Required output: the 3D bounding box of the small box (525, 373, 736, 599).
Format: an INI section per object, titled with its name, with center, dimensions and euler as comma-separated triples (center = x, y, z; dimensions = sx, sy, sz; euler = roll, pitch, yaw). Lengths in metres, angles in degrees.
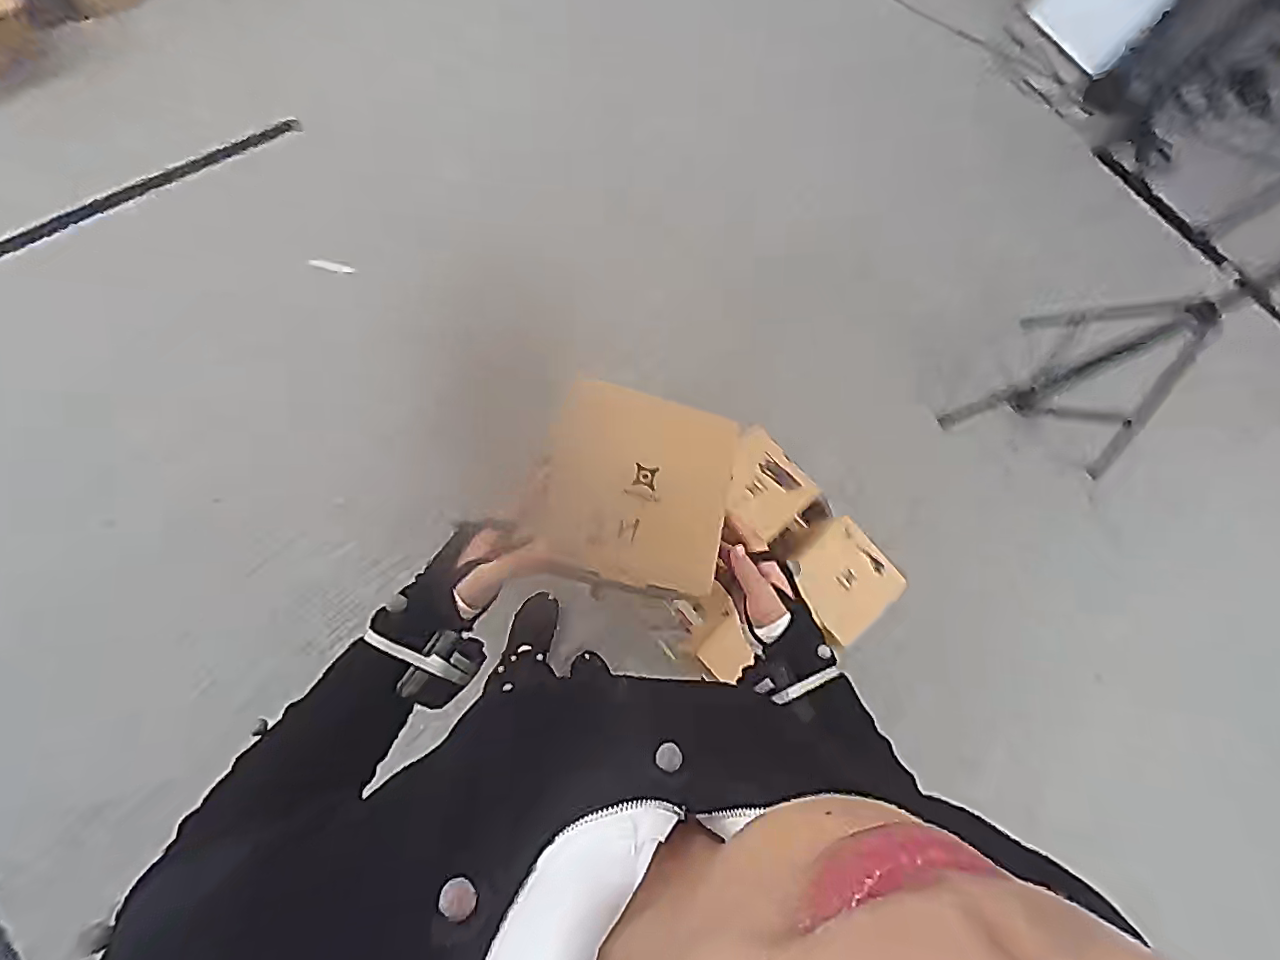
[small box]
center = -0.019, 0.020, 0.558
dimensions = 0.168, 0.176, 0.179
euler = 14, 75, -10
